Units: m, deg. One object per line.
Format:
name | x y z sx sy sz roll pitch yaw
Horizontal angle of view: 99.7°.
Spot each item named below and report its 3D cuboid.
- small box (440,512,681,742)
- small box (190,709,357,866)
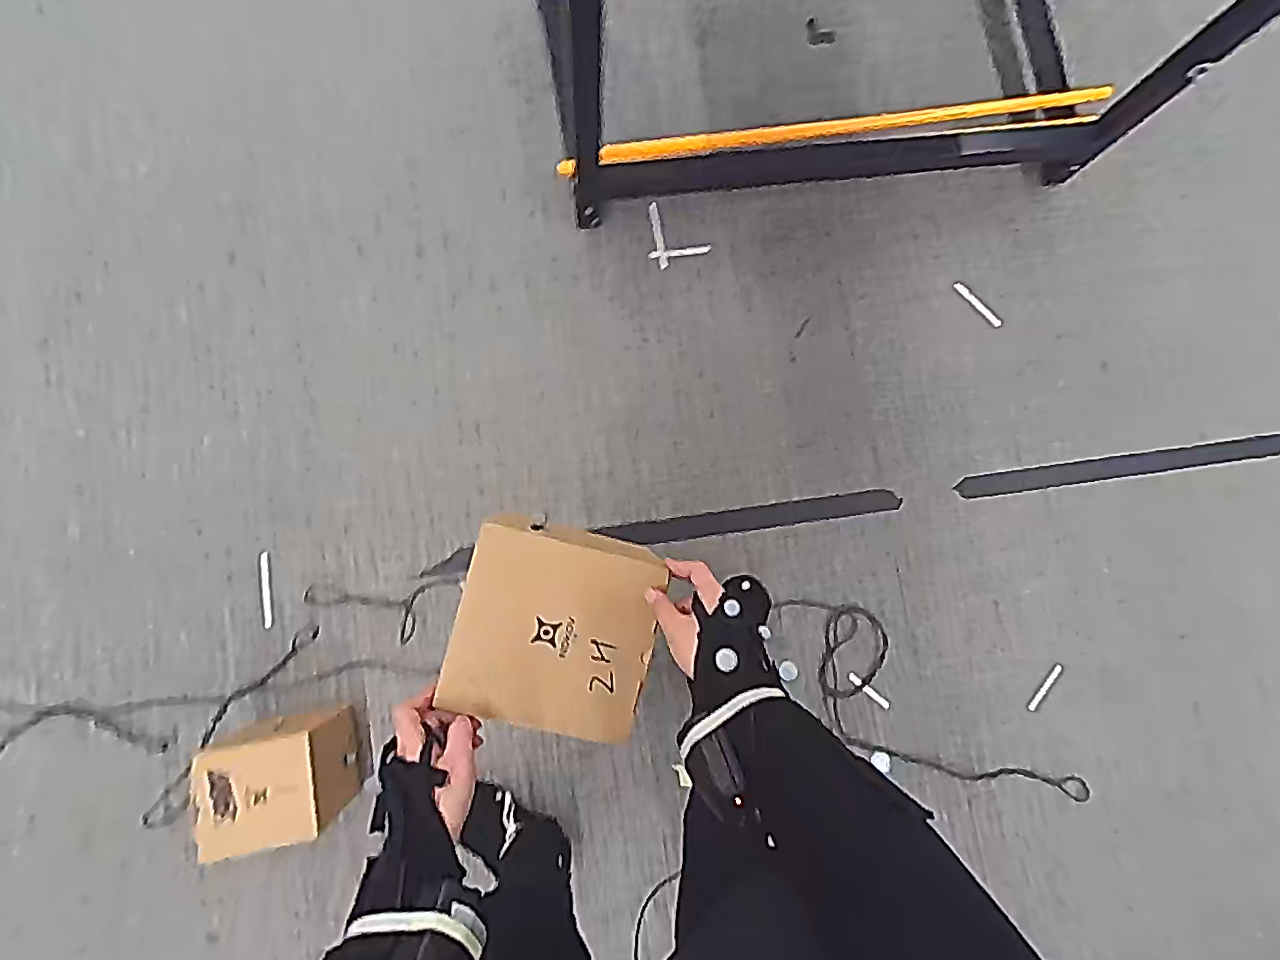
small box | -0.078 0.133 0.552 0.179 0.176 0.168 16 87 -8
small box | -0.616 0.512 0.926 0.179 0.176 0.168 -9 84 -8
